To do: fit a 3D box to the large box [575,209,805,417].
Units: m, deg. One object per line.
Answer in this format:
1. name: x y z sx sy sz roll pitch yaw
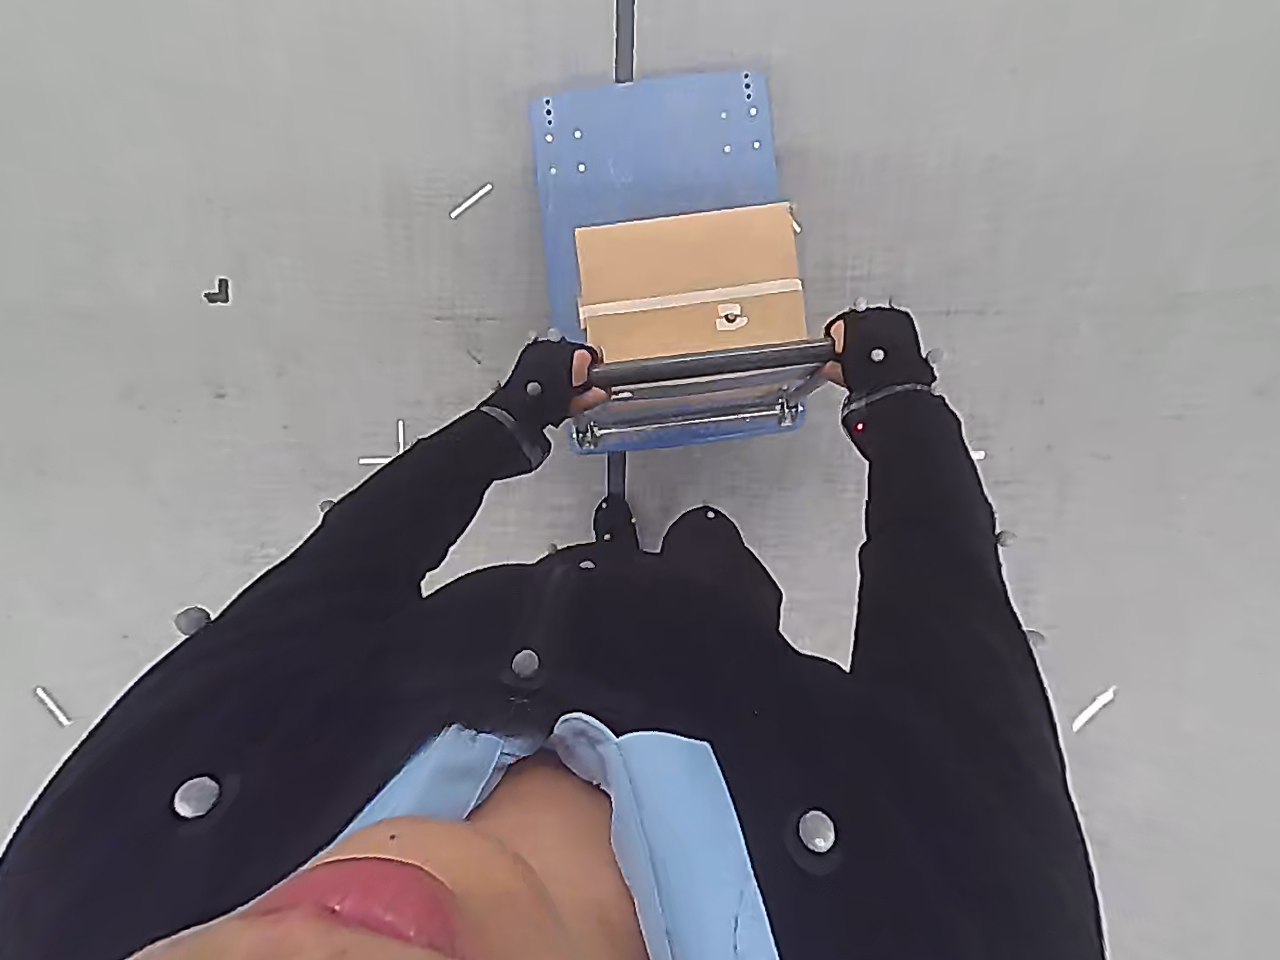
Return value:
1. large box: 0.092 -0.327 1.154 0.408 0.320 0.320 -7 91 0
